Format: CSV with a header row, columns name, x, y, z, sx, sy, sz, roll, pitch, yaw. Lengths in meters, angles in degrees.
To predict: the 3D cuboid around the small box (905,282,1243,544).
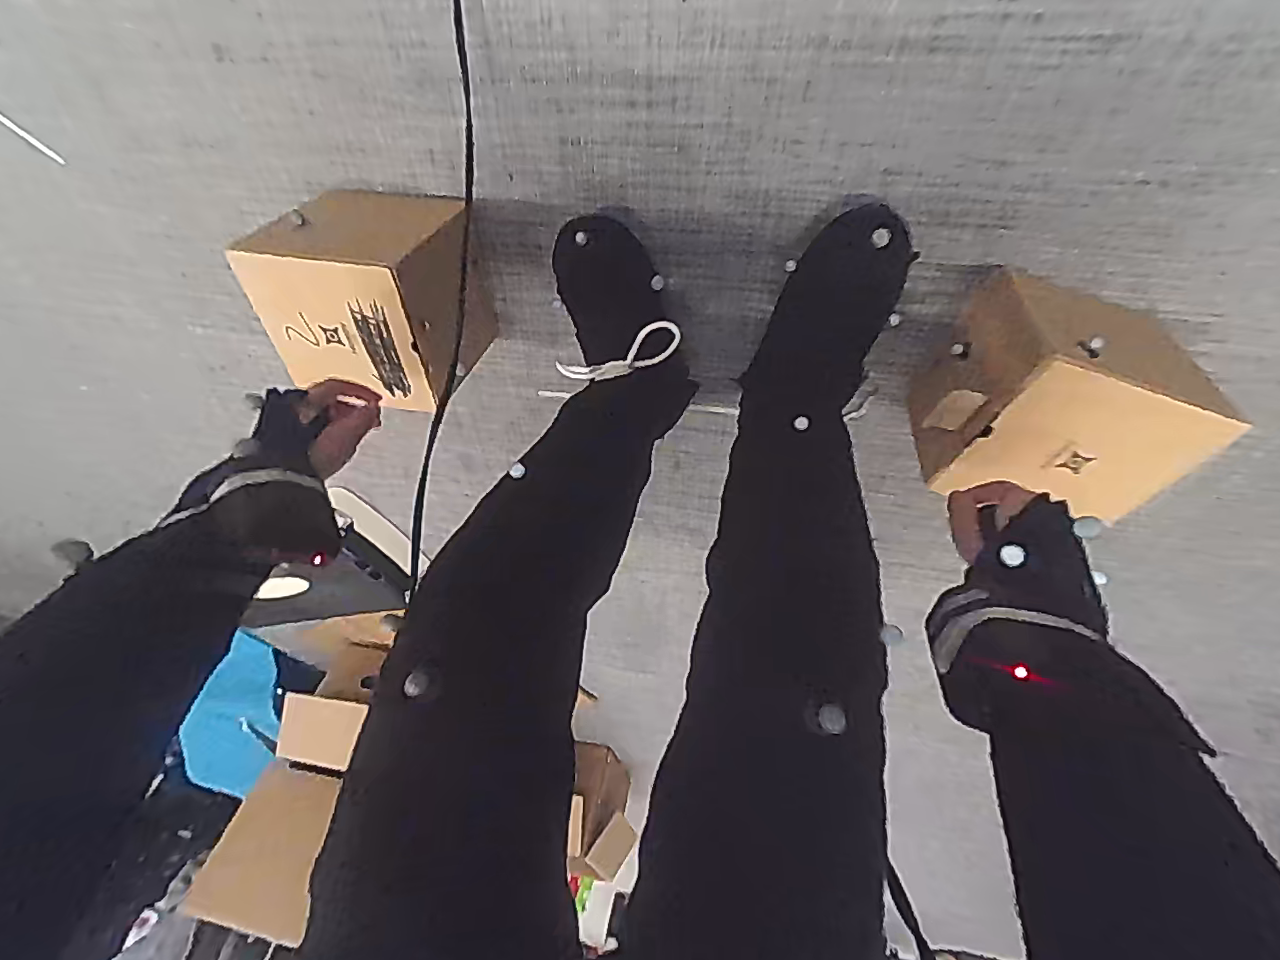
name,x,y,z,sx,sy,sz,roll,pitch,yaw
small box,0.395,-0.068,0.535,0.179,0.176,0.168,18,137,-2
